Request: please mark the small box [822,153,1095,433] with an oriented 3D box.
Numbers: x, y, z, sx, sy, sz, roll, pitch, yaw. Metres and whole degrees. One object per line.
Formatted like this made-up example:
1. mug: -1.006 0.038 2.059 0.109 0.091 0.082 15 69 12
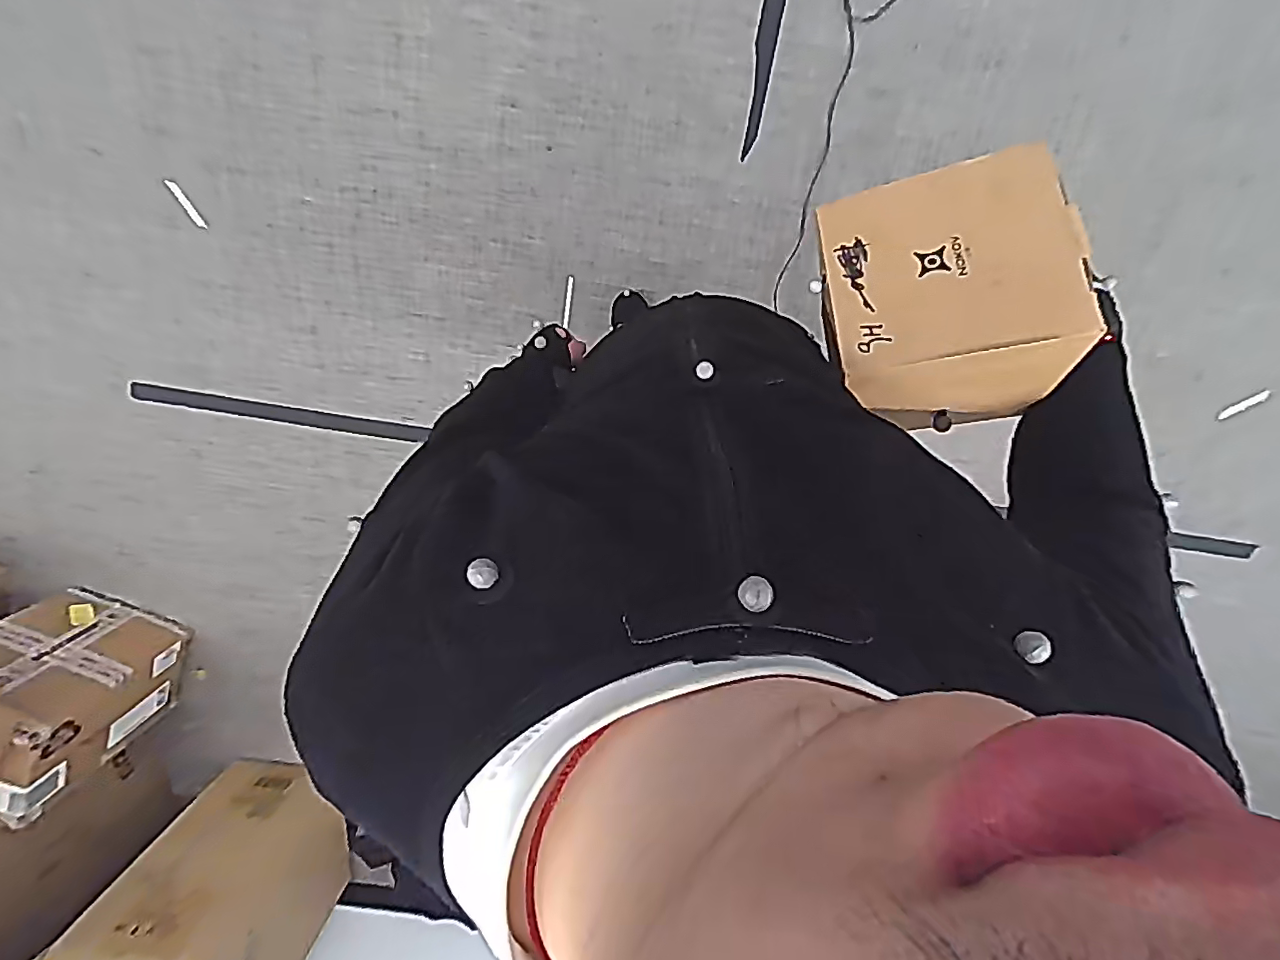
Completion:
1. small box: 0.271 -0.156 0.510 0.179 0.176 0.168 -8 73 18
